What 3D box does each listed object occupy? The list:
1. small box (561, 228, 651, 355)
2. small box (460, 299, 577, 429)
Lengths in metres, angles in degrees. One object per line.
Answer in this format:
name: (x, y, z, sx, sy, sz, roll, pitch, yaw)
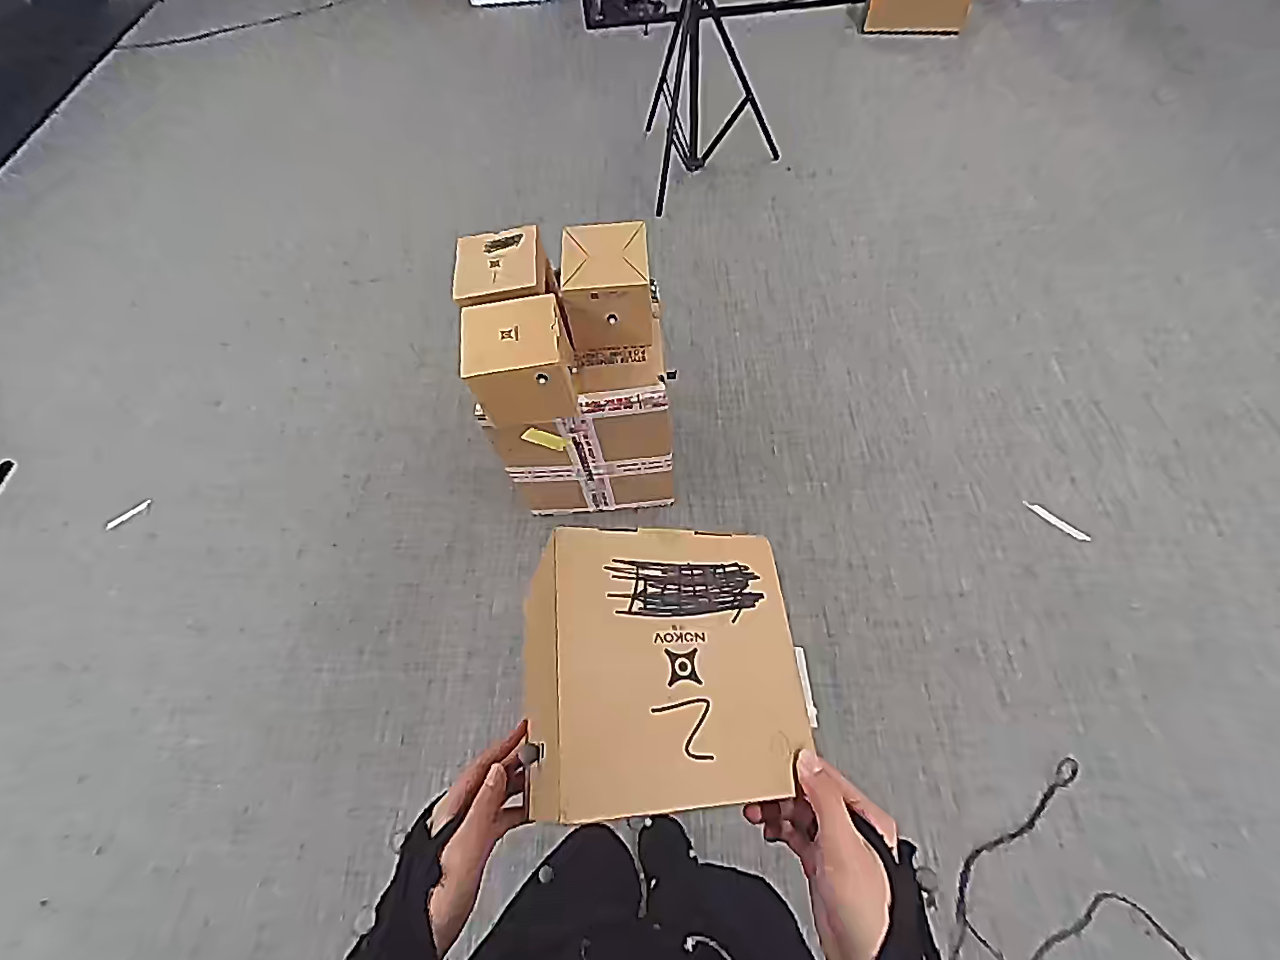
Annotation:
small box: (-0.066, -0.381, 1.101, 0.168, 0.176, 0.179, -3, 62, 0)
small box: (-0.227, -0.214, 1.033, 0.179, 0.176, 0.168, -9, 63, 0)
